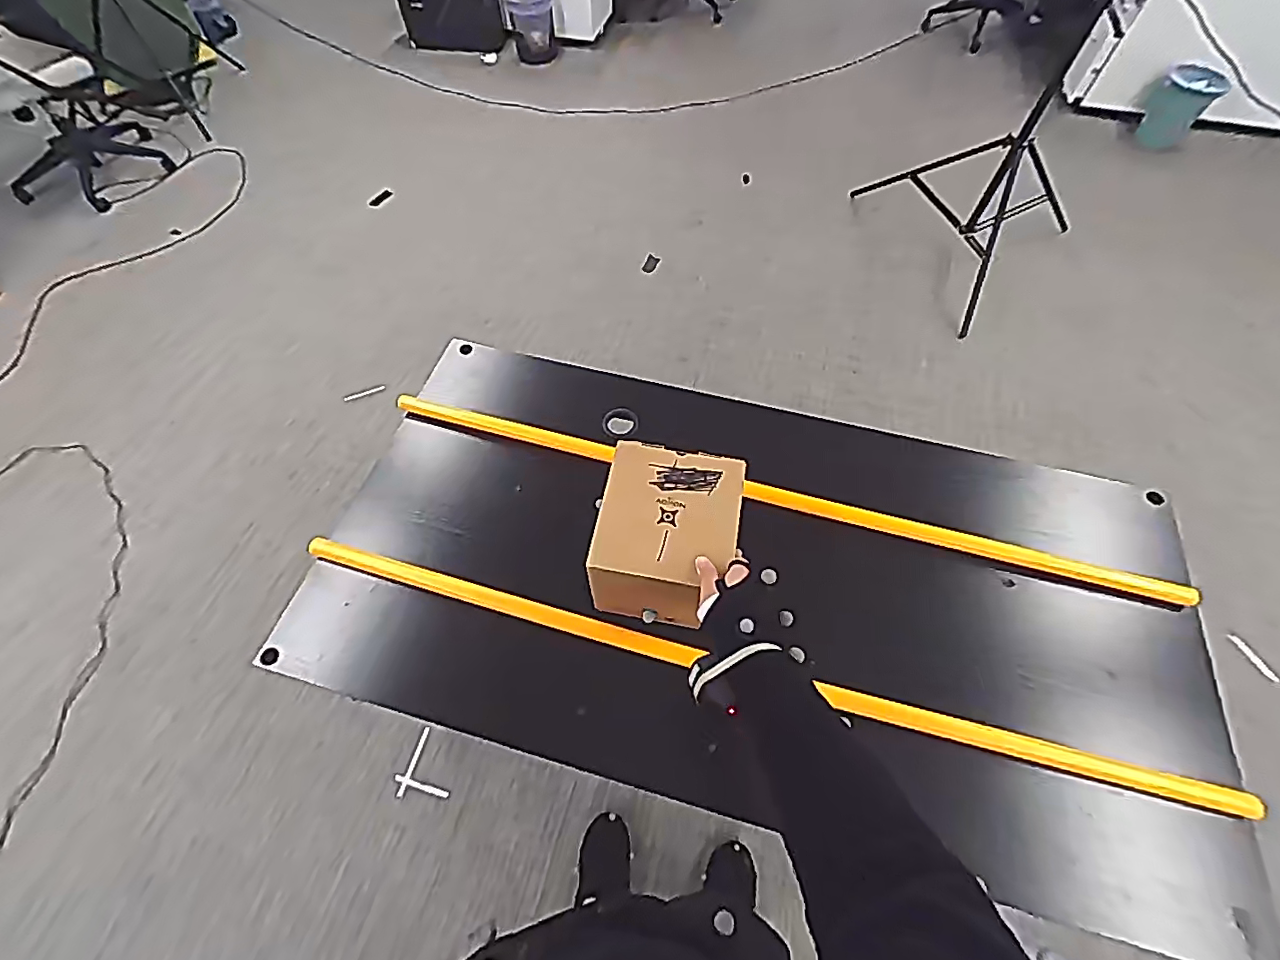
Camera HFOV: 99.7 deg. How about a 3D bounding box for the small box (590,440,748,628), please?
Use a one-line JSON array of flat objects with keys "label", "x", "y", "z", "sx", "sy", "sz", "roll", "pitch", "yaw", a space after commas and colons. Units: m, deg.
[{"label": "small box", "x": 0.039, "y": 0.076, "z": 0.712, "sx": 0.168, "sy": 0.176, "sz": 0.179, "roll": 10, "pitch": 61, "yaw": 6}]
